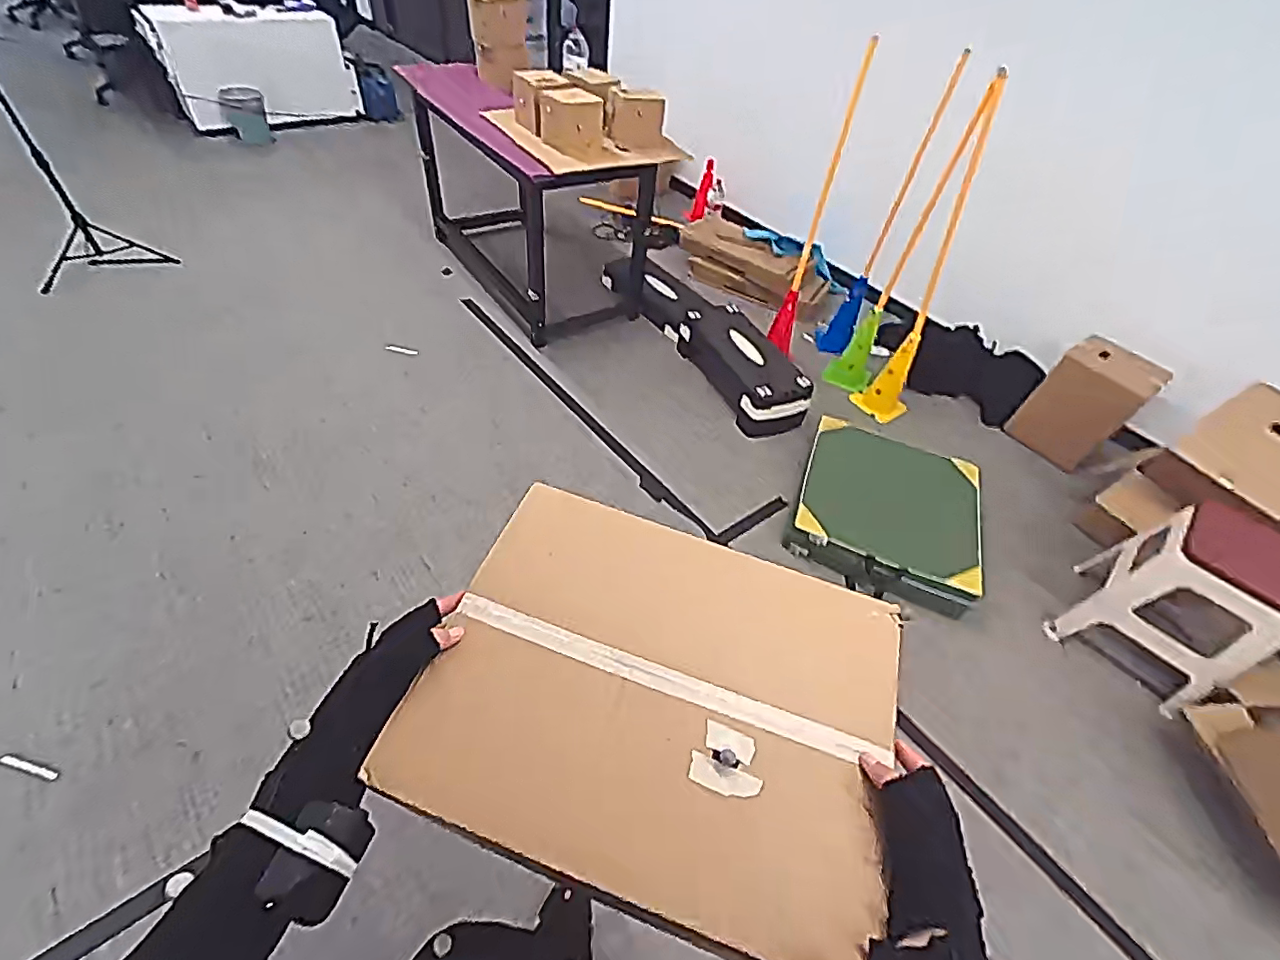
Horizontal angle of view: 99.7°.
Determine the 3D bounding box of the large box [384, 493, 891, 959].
[{"bbox_3d":[0.010,0.275,0.611,0.408,0.320,0.320,19,53,7],"label":"large box"}]
